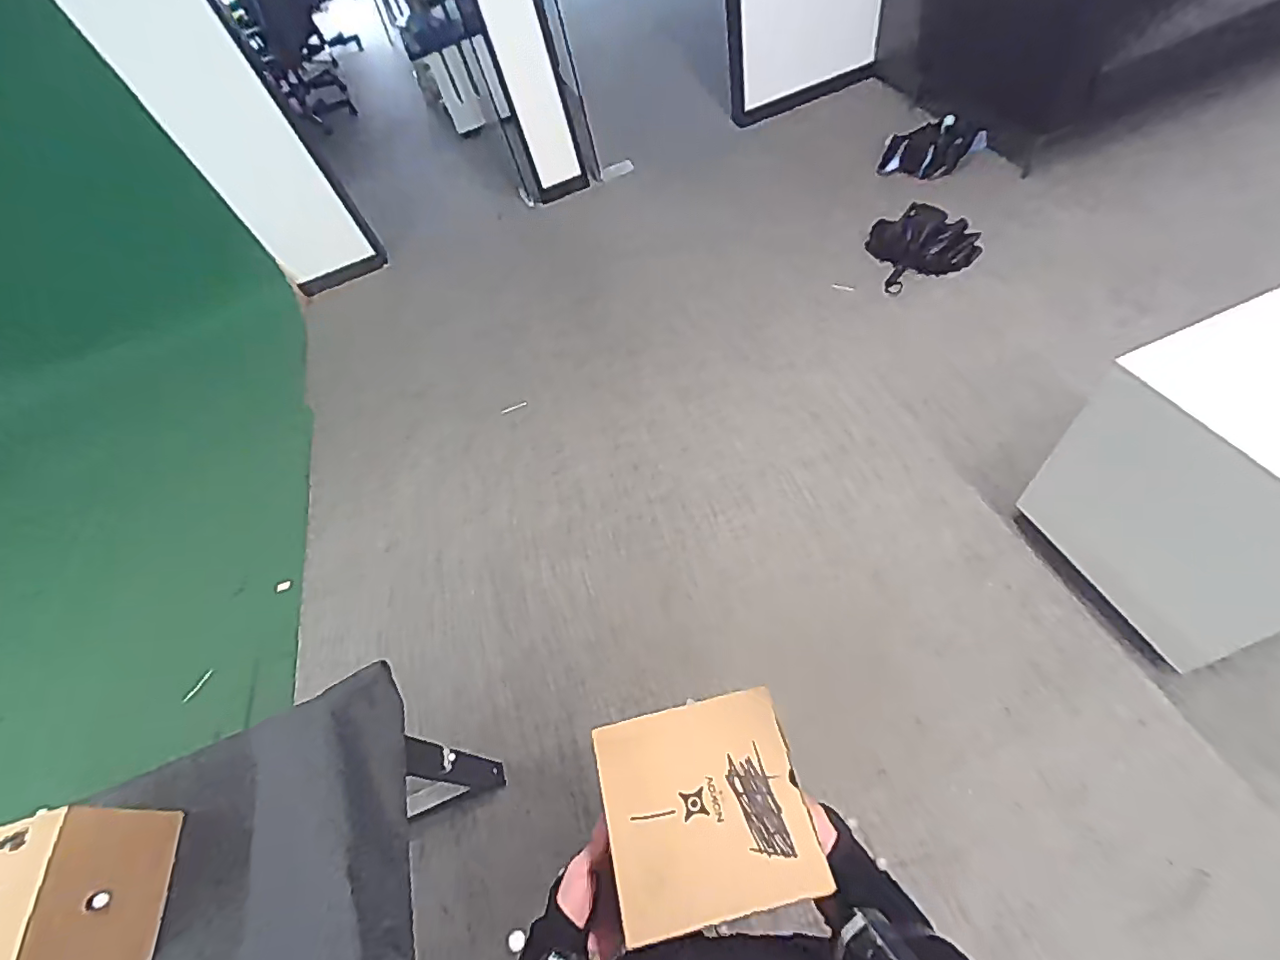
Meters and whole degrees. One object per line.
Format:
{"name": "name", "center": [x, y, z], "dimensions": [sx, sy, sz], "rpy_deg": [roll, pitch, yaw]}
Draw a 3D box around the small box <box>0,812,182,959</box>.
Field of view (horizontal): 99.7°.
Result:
{"name": "small box", "center": [-0.739, 0.542, 0.686], "dimensions": [0.168, 0.176, 0.179], "rpy_deg": [-18, 55, 1]}
